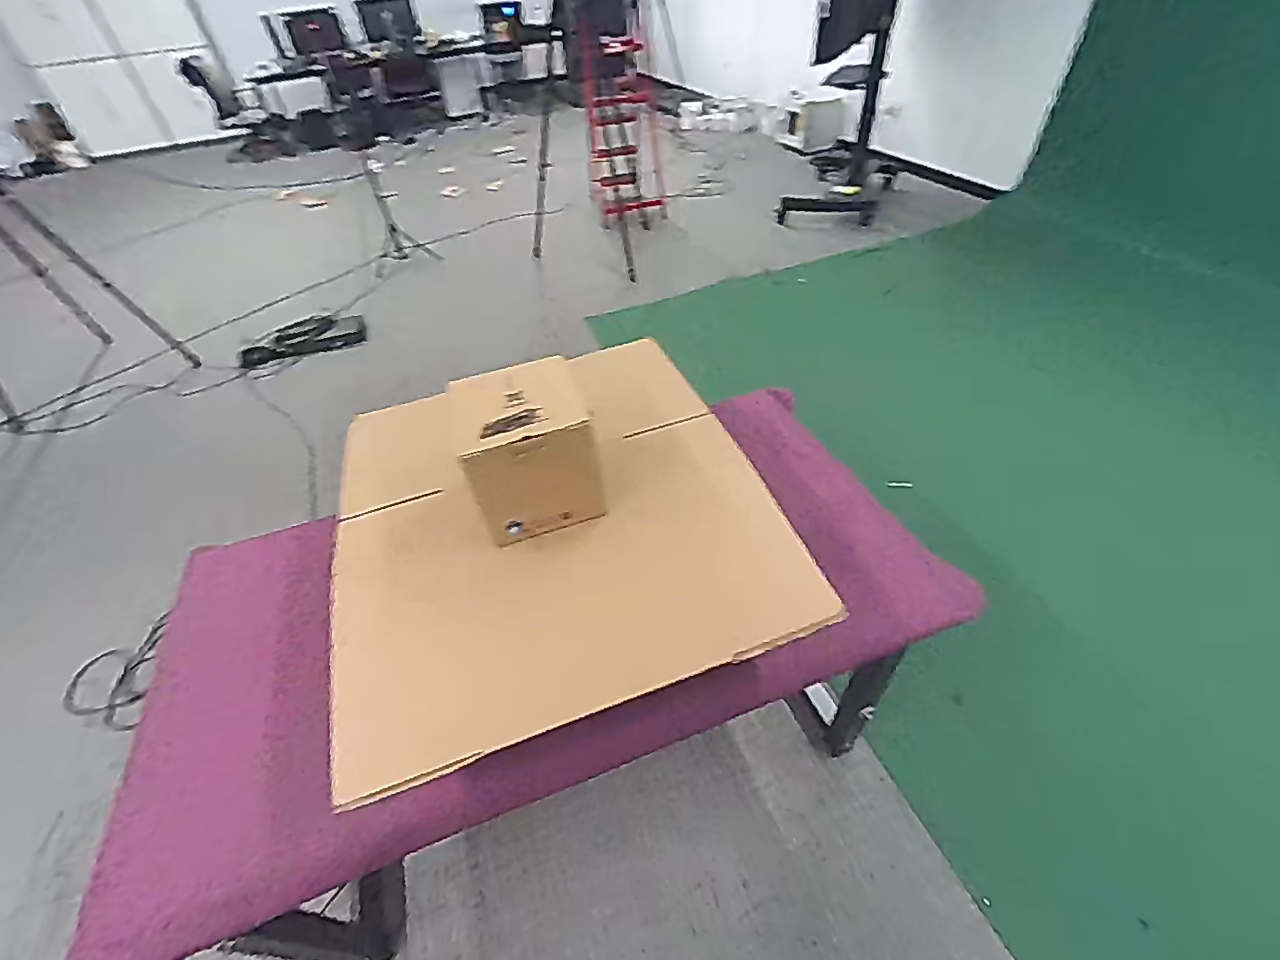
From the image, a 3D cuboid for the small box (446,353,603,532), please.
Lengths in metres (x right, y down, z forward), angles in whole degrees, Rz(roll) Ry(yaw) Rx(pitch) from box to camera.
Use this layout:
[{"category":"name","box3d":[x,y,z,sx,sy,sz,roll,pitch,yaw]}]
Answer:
[{"category":"small box","box3d":[-0.158,-0.048,0.761,0.168,0.176,0.179,-17,45,-10]}]
